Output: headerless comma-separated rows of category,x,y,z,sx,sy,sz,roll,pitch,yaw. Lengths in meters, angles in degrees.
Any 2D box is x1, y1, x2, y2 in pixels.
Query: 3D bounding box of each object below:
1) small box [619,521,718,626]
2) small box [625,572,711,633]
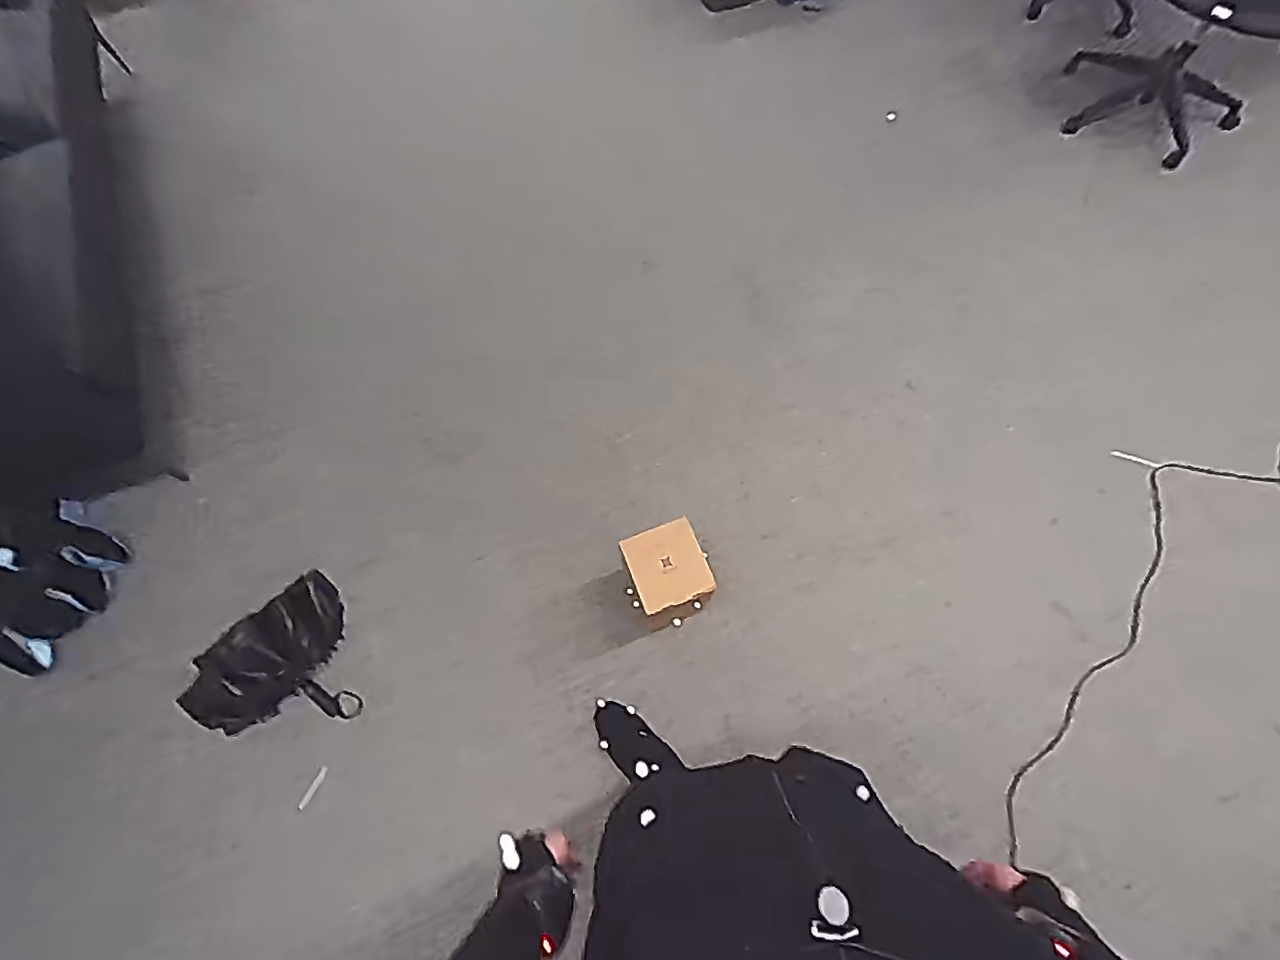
small box,0.062,0.221,1.228,0.168,0.176,0.179,-21,69,-7
small box,0.065,0.274,1.381,0.168,0.176,0.179,-23,71,-7
